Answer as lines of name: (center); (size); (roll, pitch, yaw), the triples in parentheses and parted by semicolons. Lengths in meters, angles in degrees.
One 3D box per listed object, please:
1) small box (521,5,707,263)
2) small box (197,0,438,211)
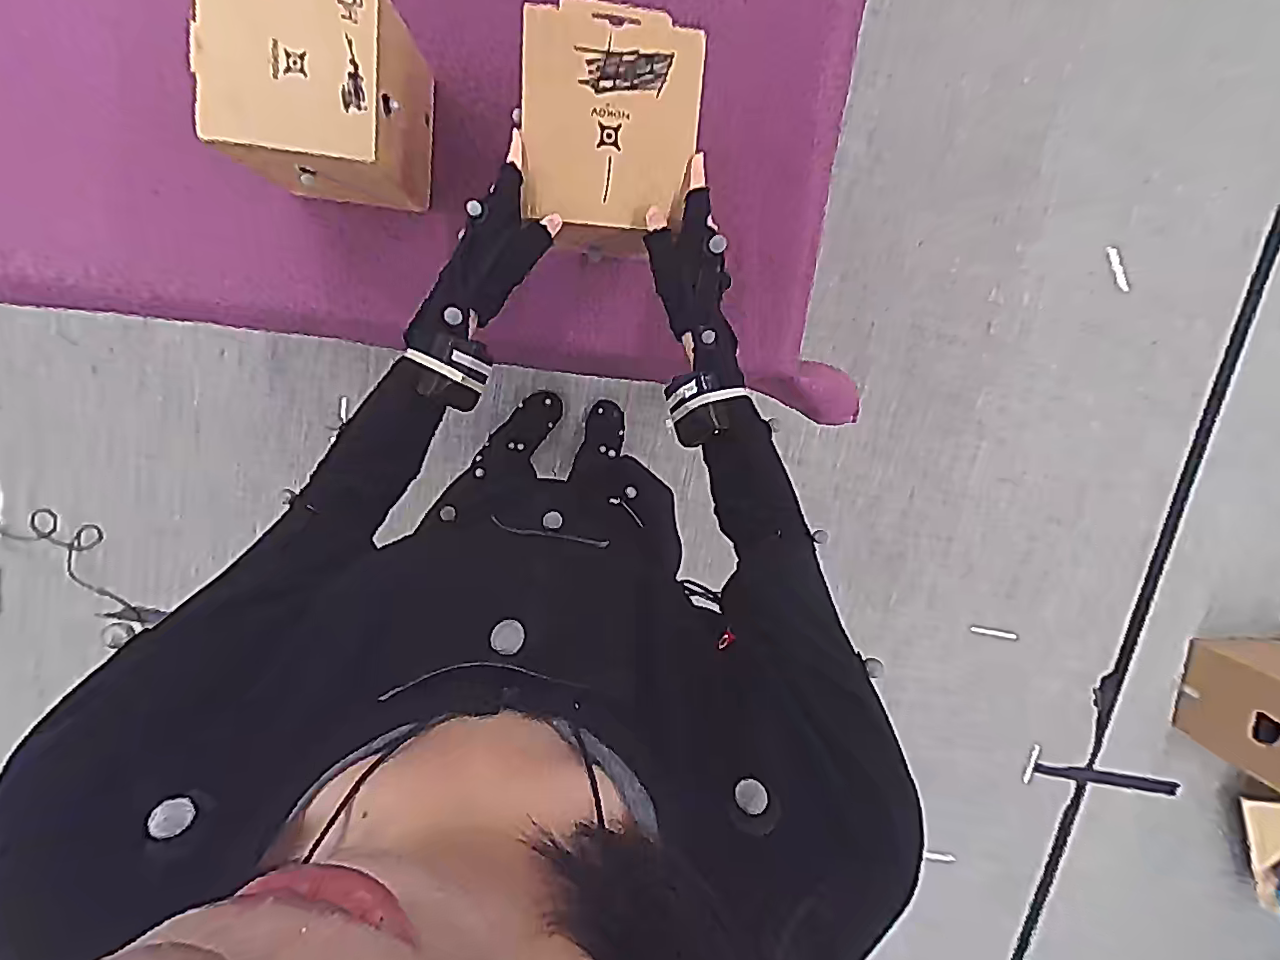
small box: (-0.035, -0.348, 0.583); (0.168, 0.176, 0.179); (3, 102, -8)
small box: (-0.347, -0.423, 0.609); (0.179, 0.176, 0.168); (6, 99, -3)
